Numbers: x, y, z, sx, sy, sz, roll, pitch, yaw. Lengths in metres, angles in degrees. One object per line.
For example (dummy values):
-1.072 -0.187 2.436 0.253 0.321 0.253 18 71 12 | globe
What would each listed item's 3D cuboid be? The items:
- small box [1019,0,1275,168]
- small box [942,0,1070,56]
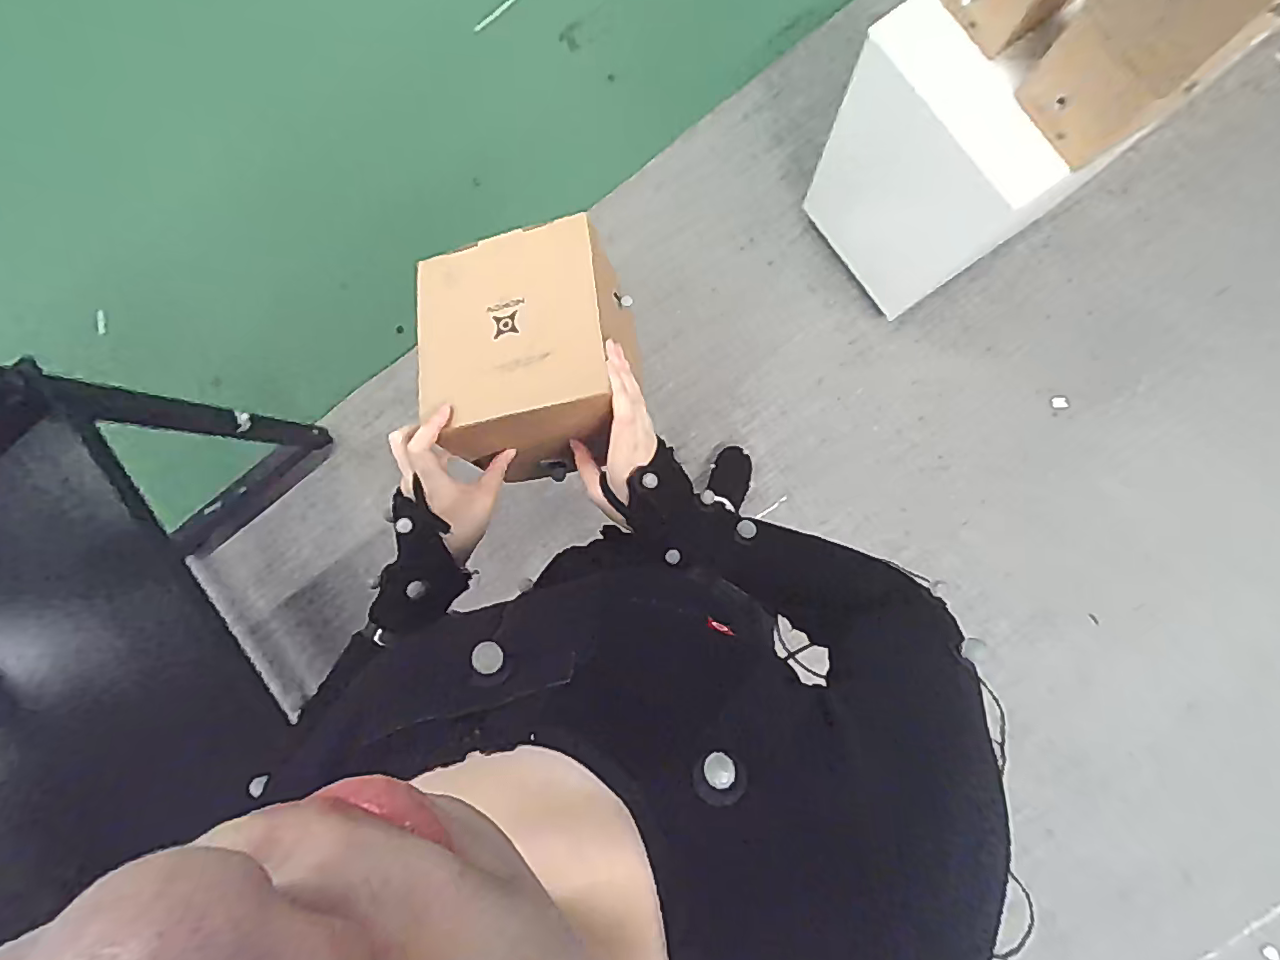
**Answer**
0.716 -0.611 0.790 0.179 0.176 0.168 -33 84 4 | small box
0.590 -0.805 0.807 0.179 0.176 0.168 -35 86 4 | small box
